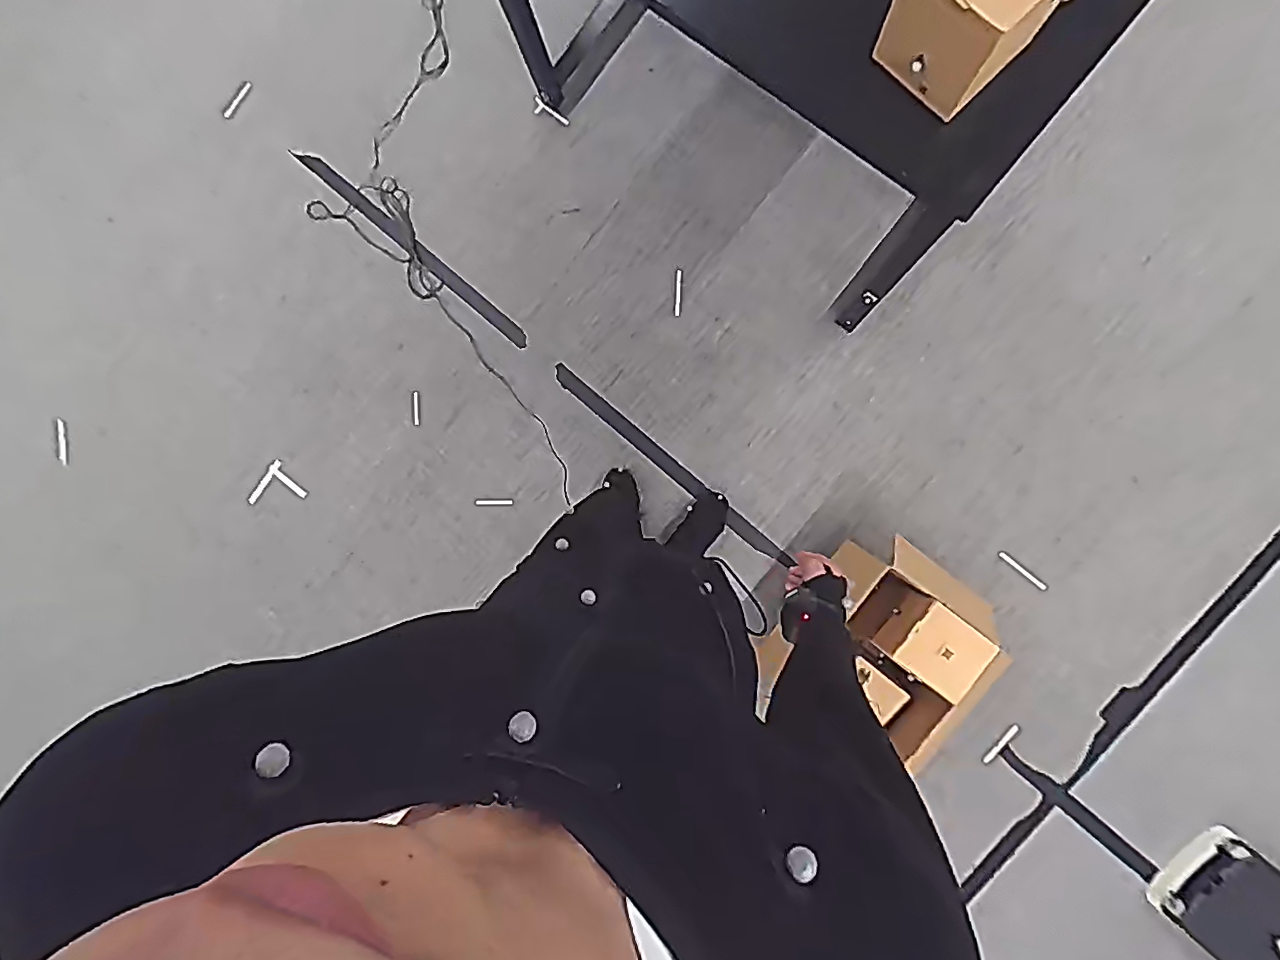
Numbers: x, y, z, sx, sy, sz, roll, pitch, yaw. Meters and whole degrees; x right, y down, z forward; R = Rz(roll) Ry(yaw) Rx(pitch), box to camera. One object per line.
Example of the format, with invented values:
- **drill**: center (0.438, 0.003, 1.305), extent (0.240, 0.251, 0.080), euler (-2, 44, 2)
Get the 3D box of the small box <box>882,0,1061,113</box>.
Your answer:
- **small box**: center (0.481, -0.683, 0.763), extent (0.179, 0.176, 0.168), euler (-43, 84, 5)
